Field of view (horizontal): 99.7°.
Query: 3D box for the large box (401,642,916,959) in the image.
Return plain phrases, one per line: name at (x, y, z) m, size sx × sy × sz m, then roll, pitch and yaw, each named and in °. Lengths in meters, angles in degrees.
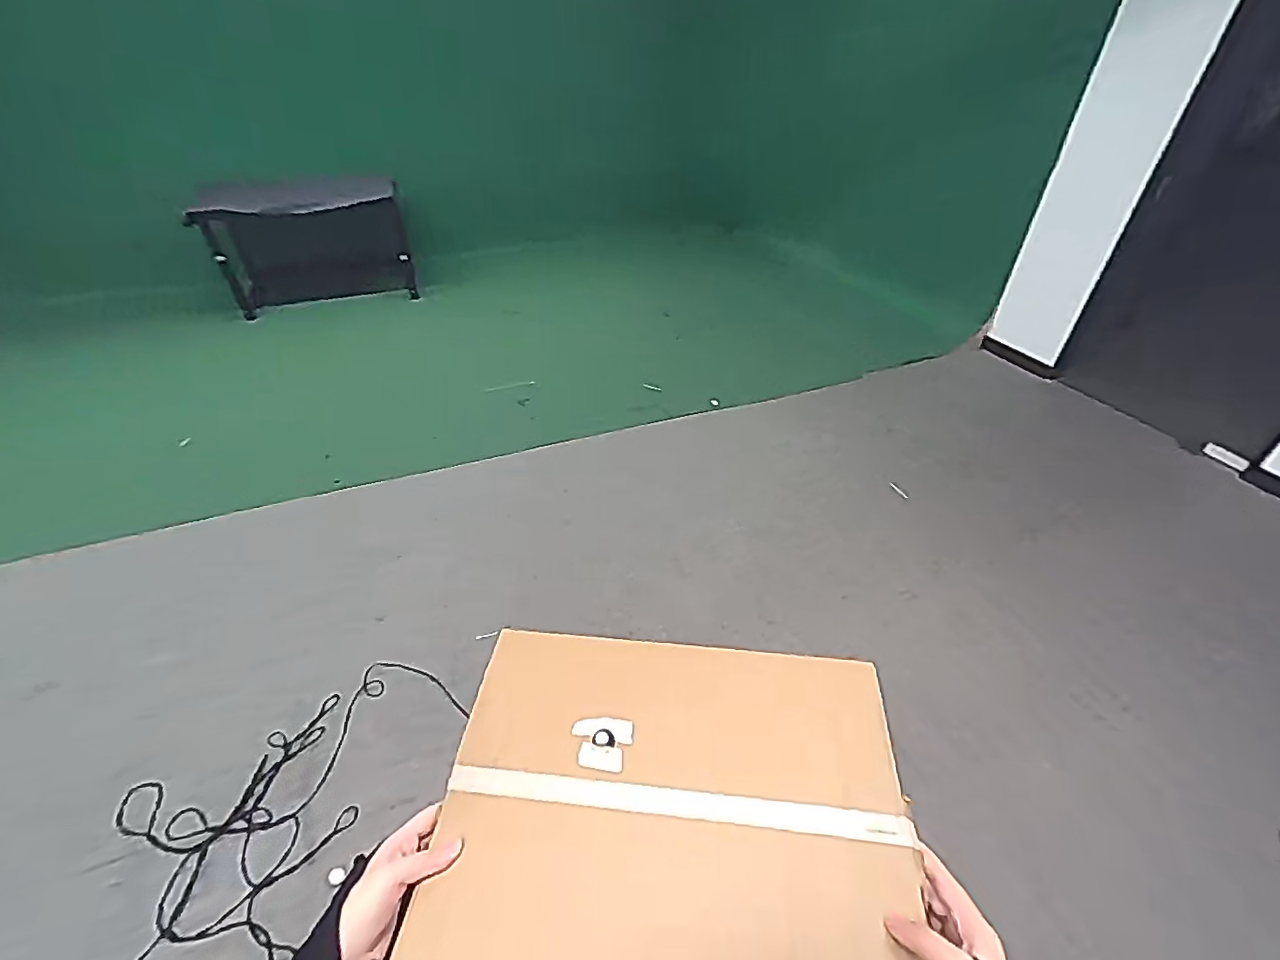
large box at (0.033, 0.401, 0.594) m, size 0.408 × 0.320 × 0.320 m, roll 1°, pitch 44°, yaw 8°
